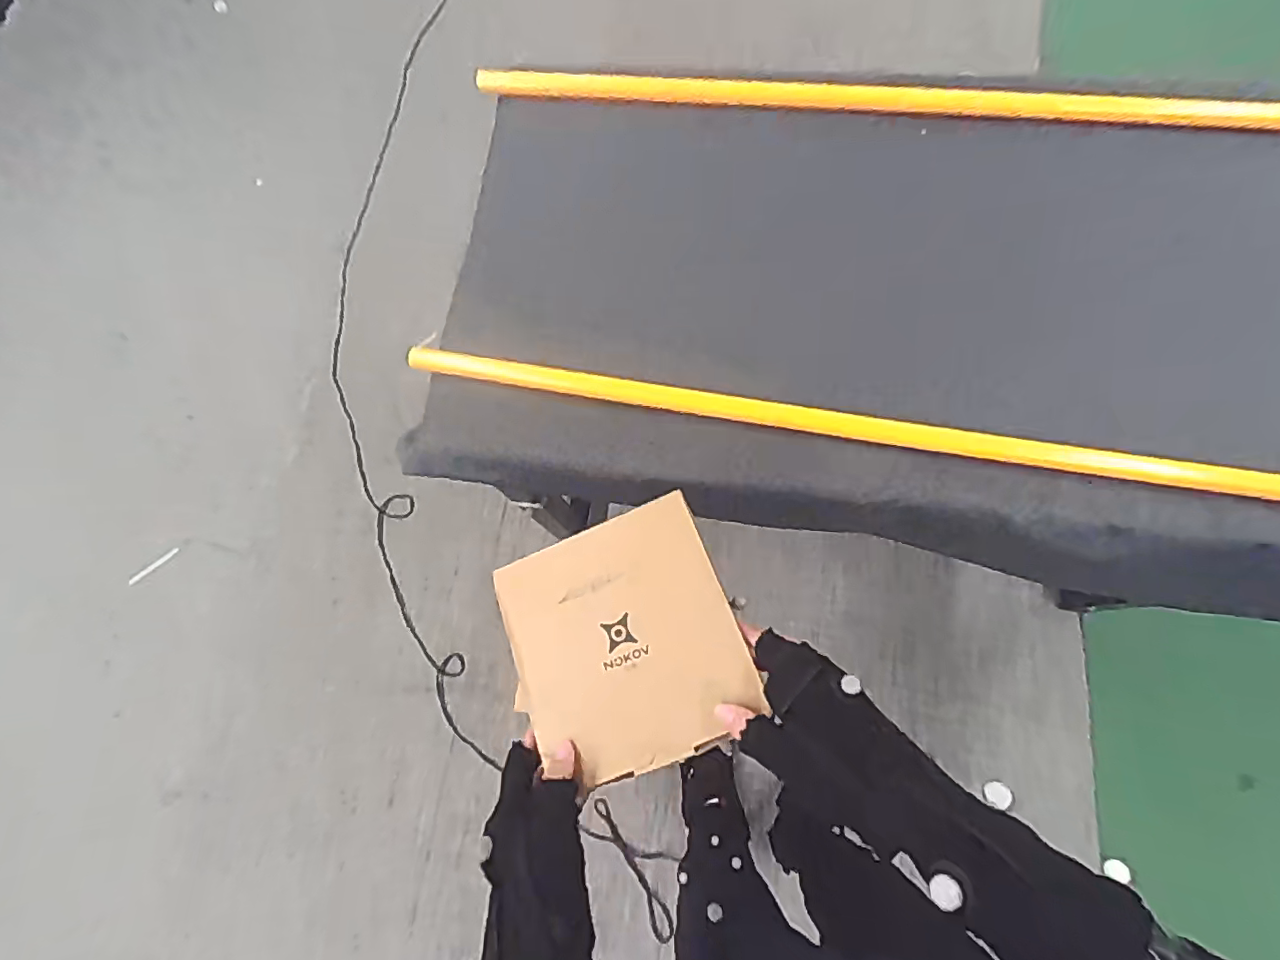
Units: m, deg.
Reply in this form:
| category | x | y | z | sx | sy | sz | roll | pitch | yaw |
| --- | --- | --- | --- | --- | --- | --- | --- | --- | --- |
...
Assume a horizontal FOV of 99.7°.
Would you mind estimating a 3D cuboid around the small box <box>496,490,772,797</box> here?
| category | x | y | z | sx | sy | sz | roll | pitch | yaw |
| --- | --- | --- | --- | --- | --- | --- | --- | --- | --- |
| small box | 0.005 | 0.137 | 0.467 | 0.168 | 0.176 | 0.179 | -24 | 67 | 4 |
